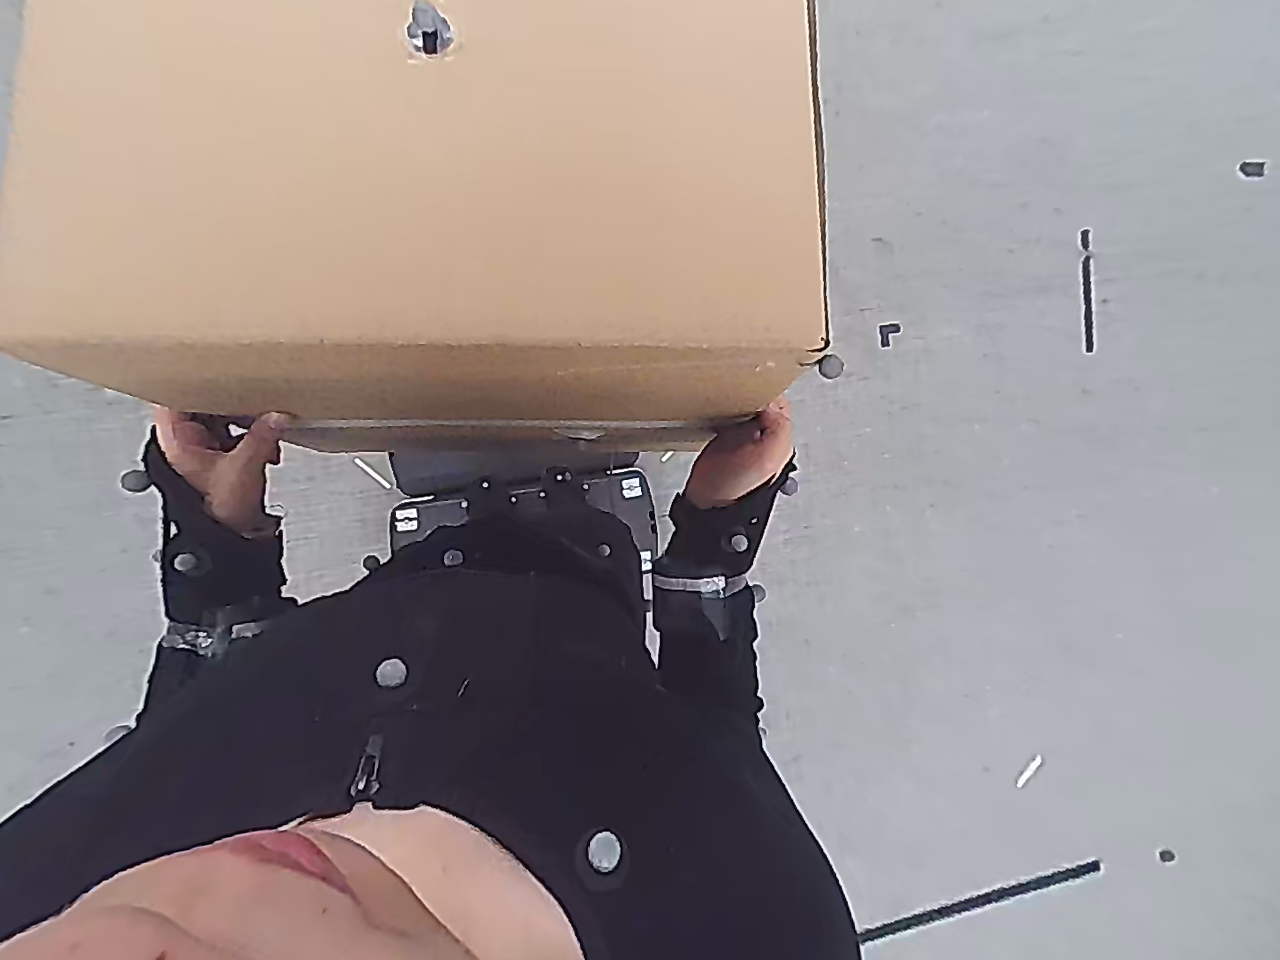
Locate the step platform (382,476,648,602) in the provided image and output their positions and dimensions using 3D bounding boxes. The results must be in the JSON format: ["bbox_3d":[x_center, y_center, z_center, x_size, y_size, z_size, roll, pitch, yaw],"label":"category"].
[{"bbox_3d":[-0.319,0.151,1.459,0.684,0.204,0.286,-3,94,-7],"label":"step platform"}]

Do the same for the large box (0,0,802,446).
[{"bbox_3d":[-0.127,-0.208,0.425,0.408,0.320,0.320,-2,85,-2],"label":"large box"}]
